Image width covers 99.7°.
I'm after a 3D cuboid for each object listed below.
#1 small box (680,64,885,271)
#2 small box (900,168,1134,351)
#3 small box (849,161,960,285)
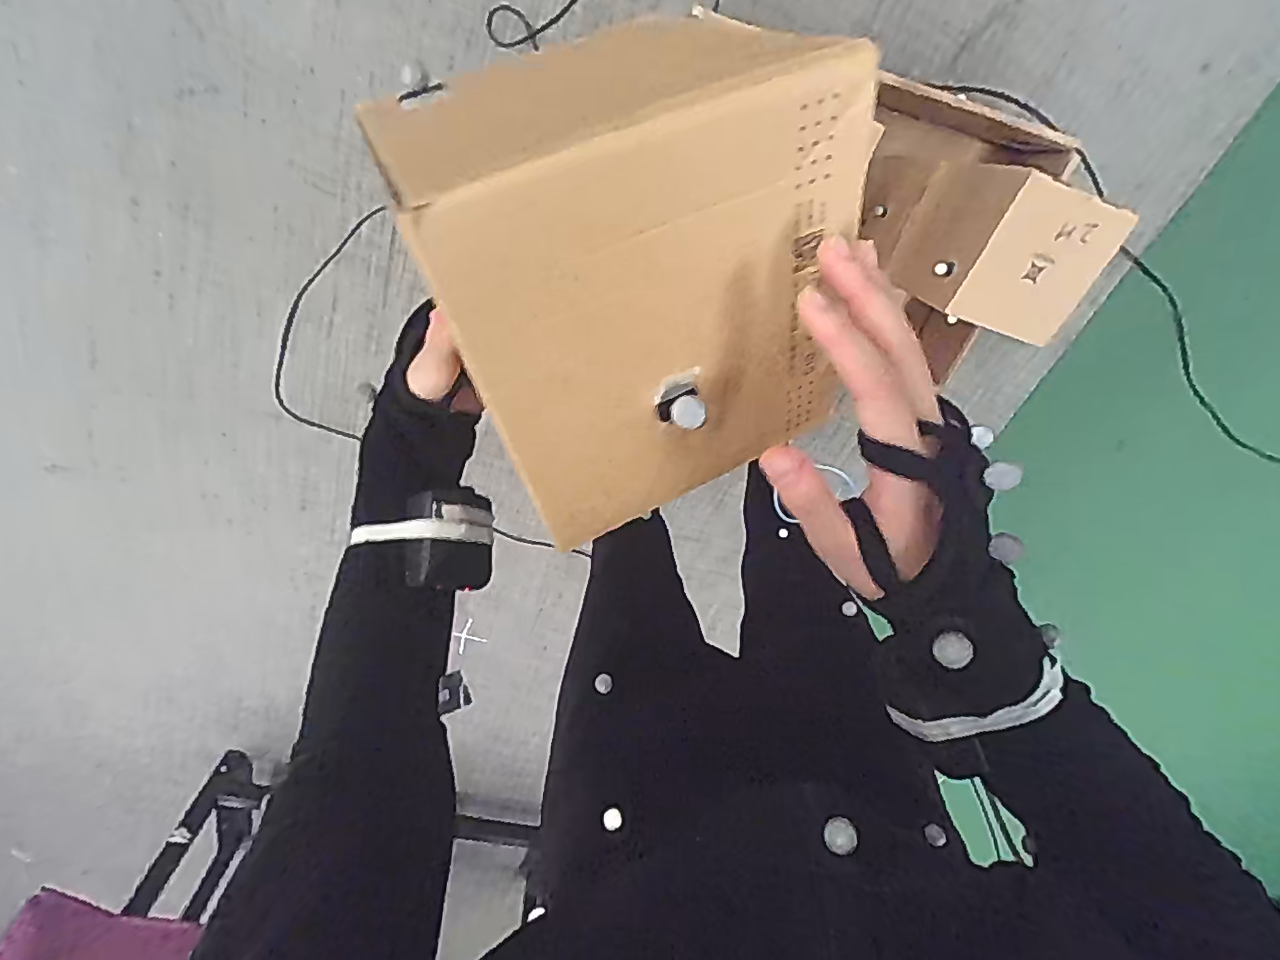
[{"bbox_3d":[0.161,-0.390,0.687,0.179,0.176,0.168,15,122,-12],"label":"small box"},{"bbox_3d":[0.496,-0.308,0.749,0.168,0.176,0.179,15,120,-12],"label":"small box"},{"bbox_3d":[0.476,-0.402,0.885,0.179,0.176,0.168,16,121,-11],"label":"small box"}]
